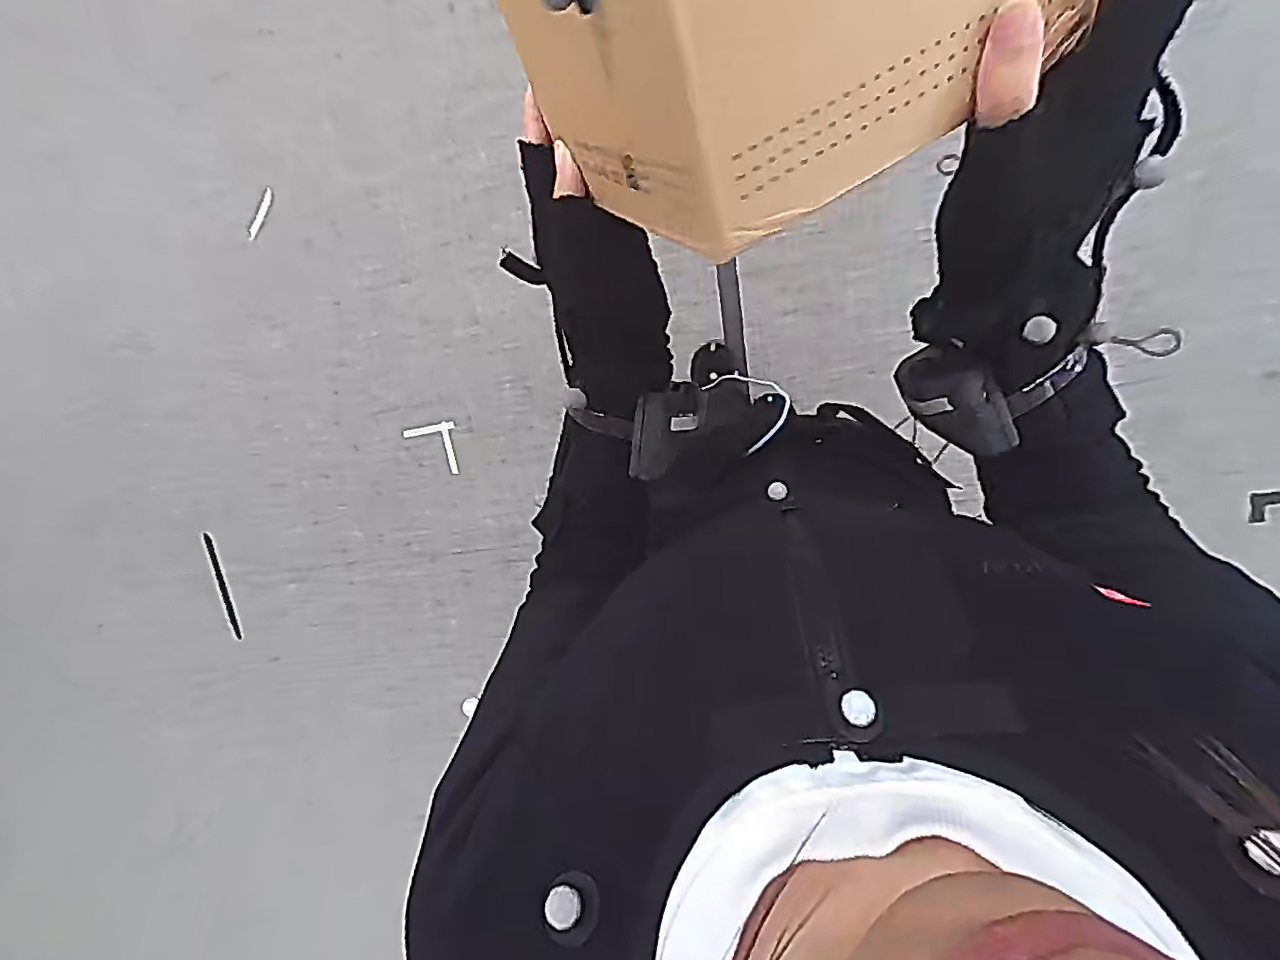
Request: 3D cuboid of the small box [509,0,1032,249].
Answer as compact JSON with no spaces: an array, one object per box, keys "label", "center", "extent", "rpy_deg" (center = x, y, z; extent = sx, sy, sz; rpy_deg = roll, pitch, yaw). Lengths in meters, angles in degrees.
[{"label":"small box","center":[0.042,-0.226,0.226],"extent":[0.179,0.168,0.176],"rpy_deg":[-31,133,-4]}]
